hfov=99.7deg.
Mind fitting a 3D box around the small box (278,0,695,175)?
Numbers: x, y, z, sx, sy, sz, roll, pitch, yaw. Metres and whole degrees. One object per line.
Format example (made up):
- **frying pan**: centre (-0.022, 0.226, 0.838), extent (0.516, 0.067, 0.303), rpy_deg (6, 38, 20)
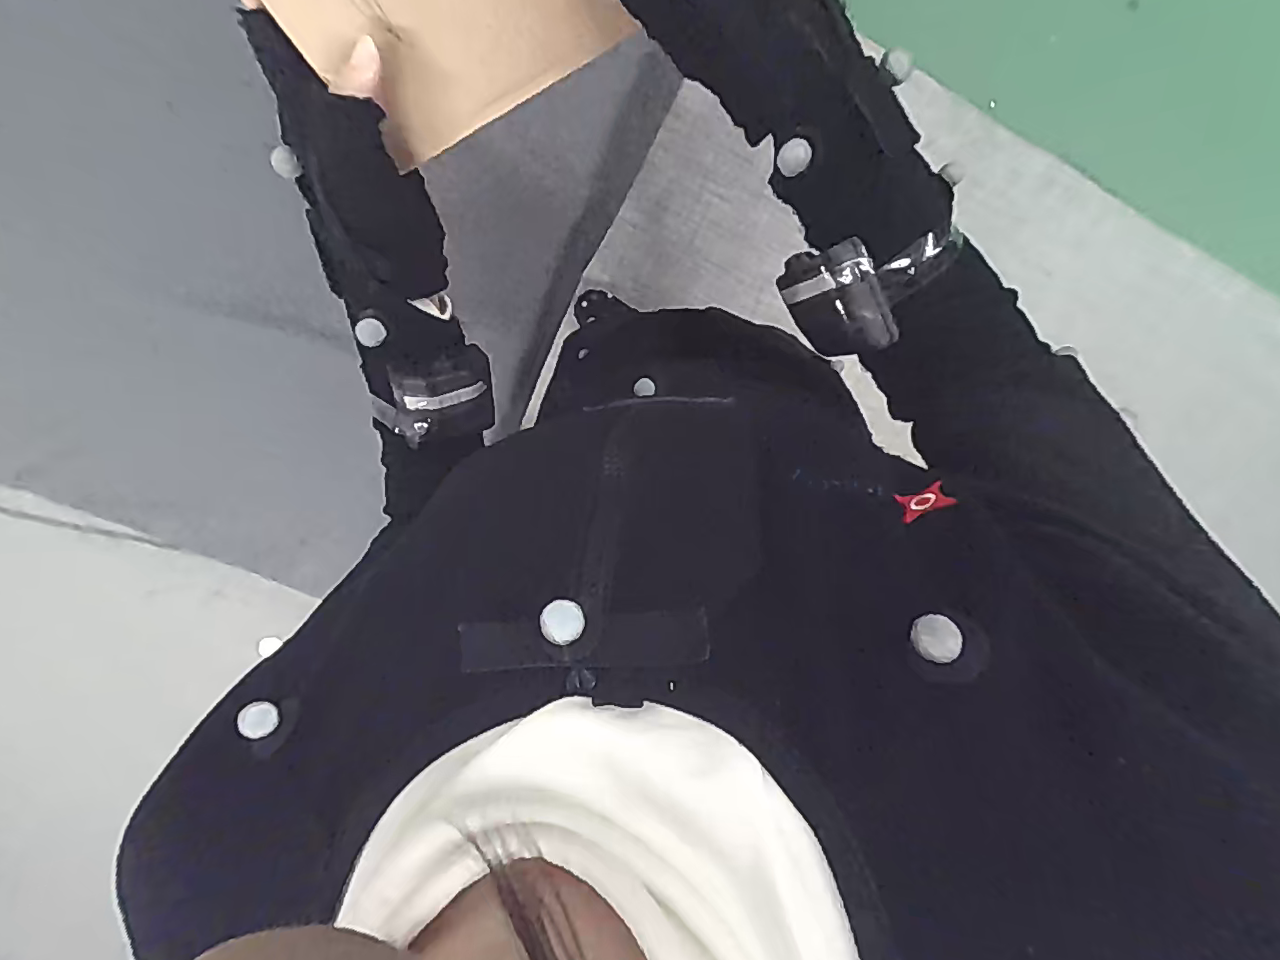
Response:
- **small box**: centre (-0.088, -0.303, 0.272), extent (0.179, 0.176, 0.168), rpy_deg (-18, 138, 18)
